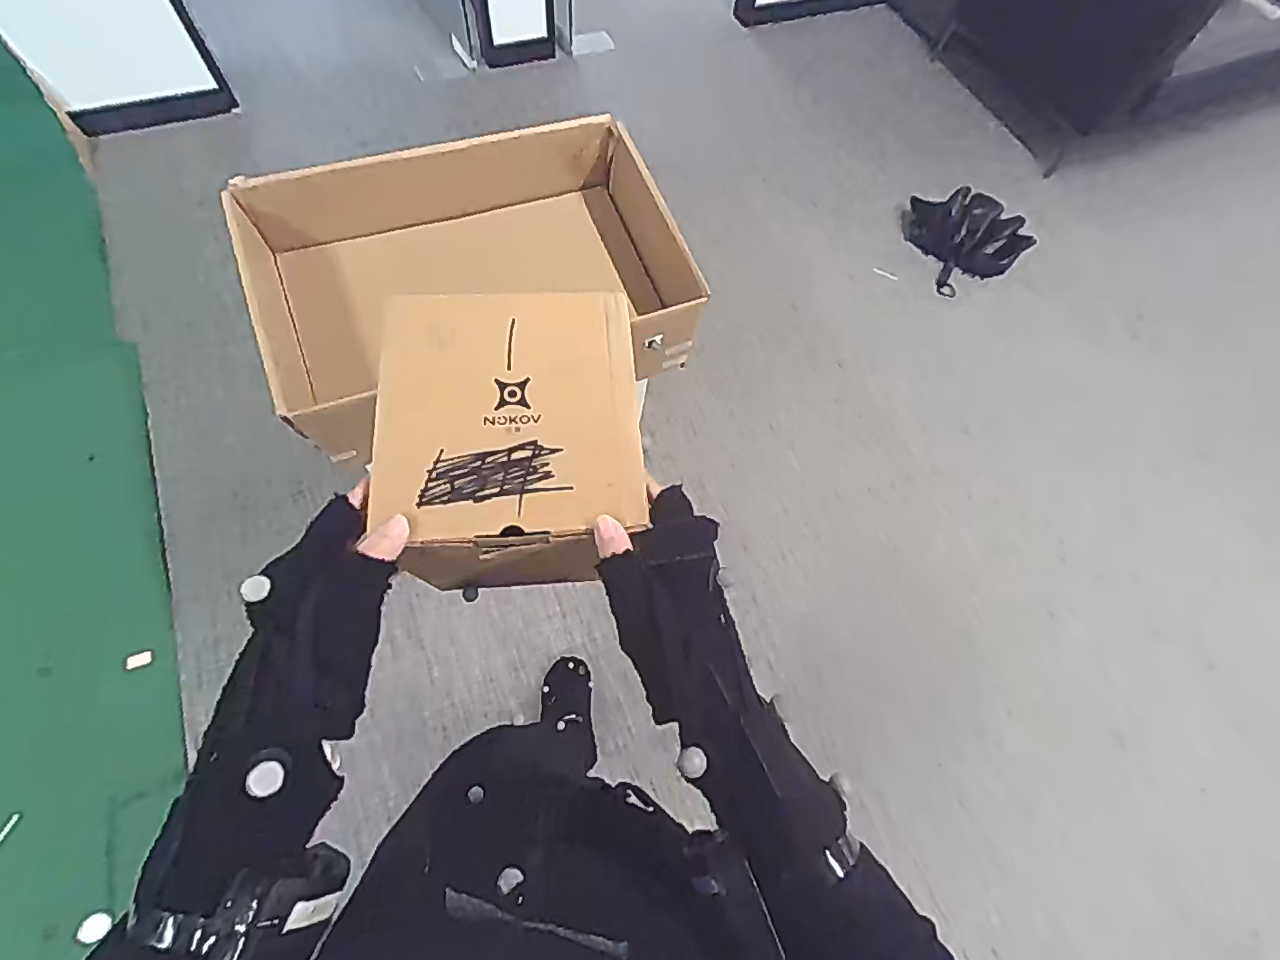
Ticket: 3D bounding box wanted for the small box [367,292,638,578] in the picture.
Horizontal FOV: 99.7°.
[{"bbox_3d":[-0.092,-0.022,0.427,0.168,0.176,0.179,-3,69,-6],"label":"small box"}]
